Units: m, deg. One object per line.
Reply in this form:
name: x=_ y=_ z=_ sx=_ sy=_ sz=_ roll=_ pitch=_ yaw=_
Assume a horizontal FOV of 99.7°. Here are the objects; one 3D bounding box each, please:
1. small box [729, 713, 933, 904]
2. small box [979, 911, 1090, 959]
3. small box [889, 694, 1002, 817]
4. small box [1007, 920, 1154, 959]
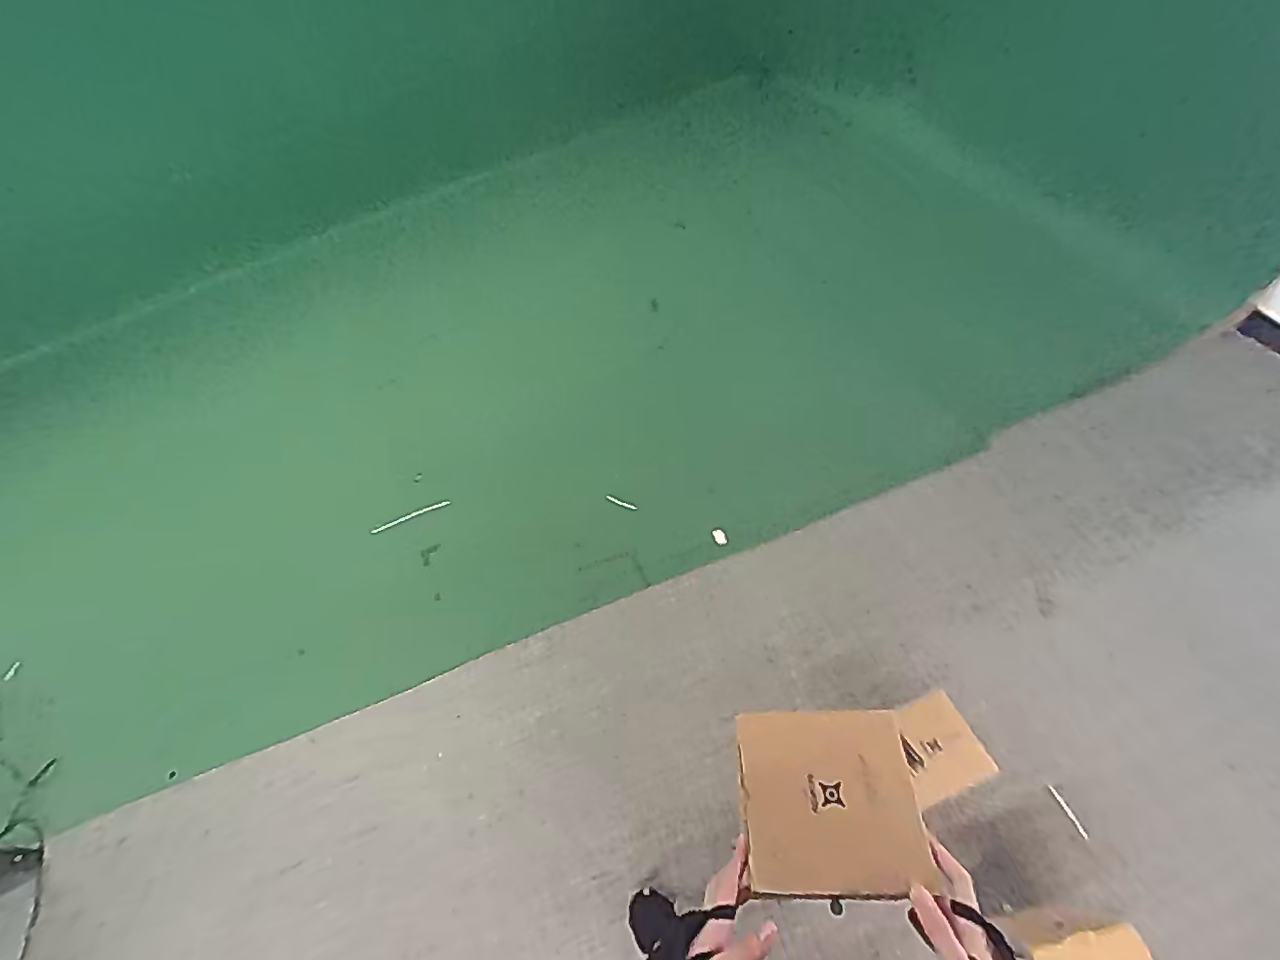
small box: x=0.197 y=0.376 z=0.616 sx=0.179 sy=0.176 sz=0.168 roll=-4 pitch=51 yaw=6
small box: x=0.768 y=0.932 z=1.011 sx=0.179 sy=0.176 sz=0.168 roll=-17 pitch=55 yaw=5
small box: x=0.583 y=0.568 z=1.106 sx=0.179 sy=0.176 sz=0.168 roll=-24 pitch=54 yaw=-3
small box: x=0.744 y=0.848 z=0.874 sx=0.168 sy=0.176 sz=0.179 roll=-17 pitch=53 yaw=3
